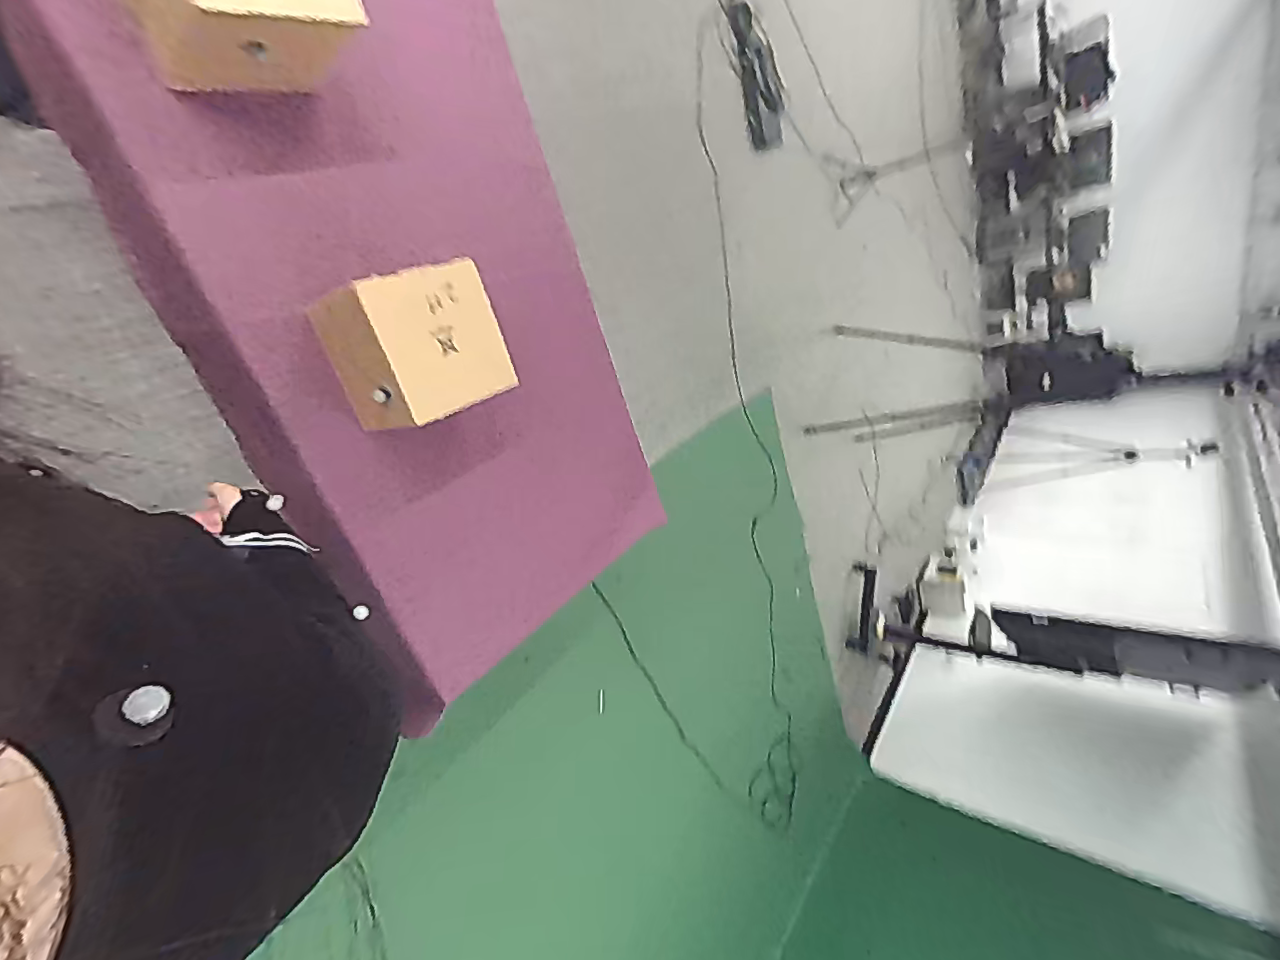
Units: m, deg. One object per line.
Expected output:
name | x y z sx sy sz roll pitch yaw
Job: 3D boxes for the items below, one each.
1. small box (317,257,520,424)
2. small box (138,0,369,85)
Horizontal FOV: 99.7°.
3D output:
small box | -0.301 -0.184 0.737 0.168 0.176 0.179 -35 116 -41
small box | -0.436 -0.552 0.578 0.179 0.176 0.168 -36 118 -39
